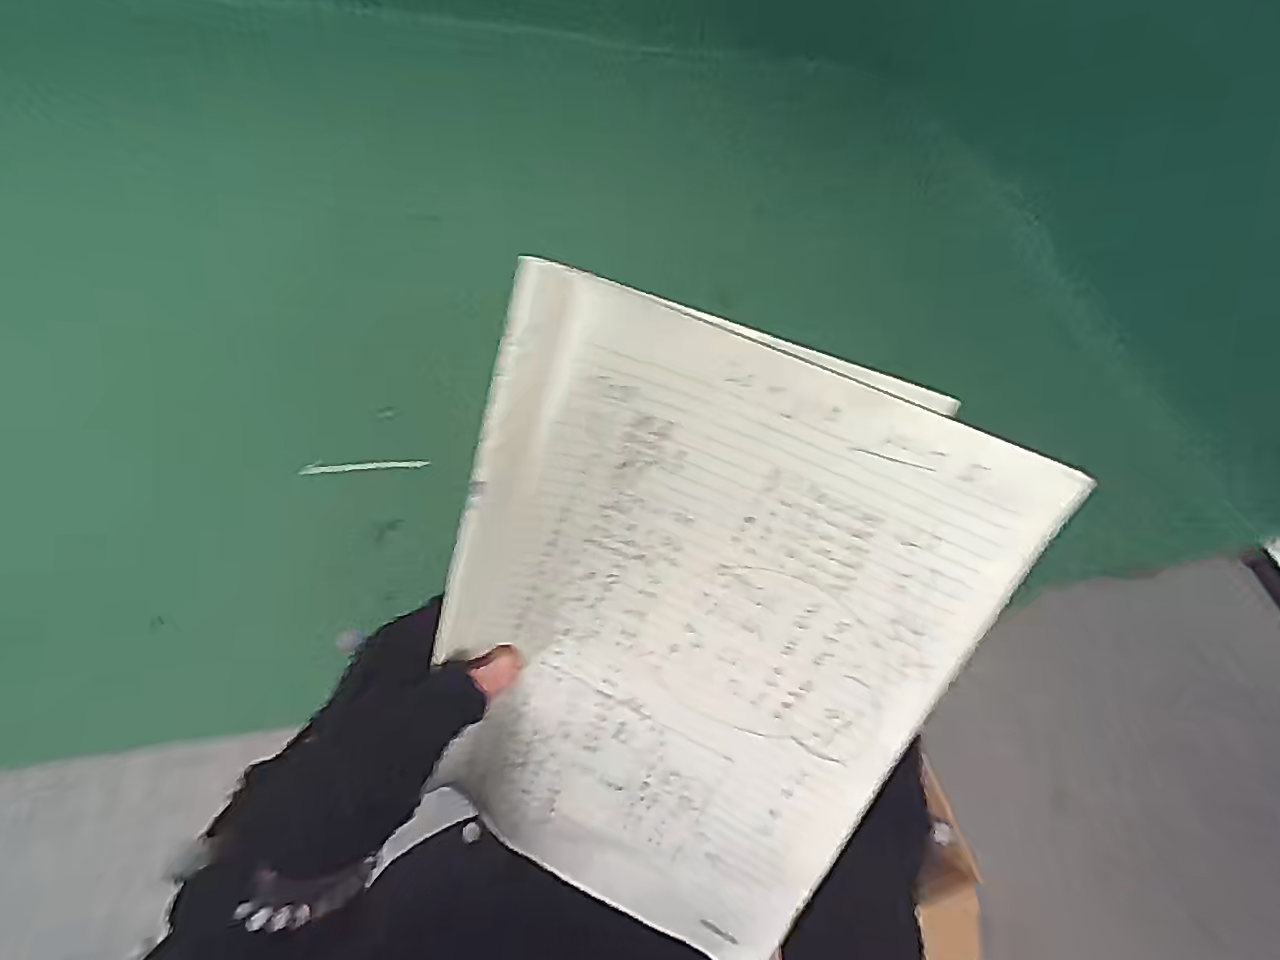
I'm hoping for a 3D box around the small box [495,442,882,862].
[{"bbox_3d":[0.030,0.091,0.356,0.168,0.176,0.179,15,85,6],"label":"small box"}]
